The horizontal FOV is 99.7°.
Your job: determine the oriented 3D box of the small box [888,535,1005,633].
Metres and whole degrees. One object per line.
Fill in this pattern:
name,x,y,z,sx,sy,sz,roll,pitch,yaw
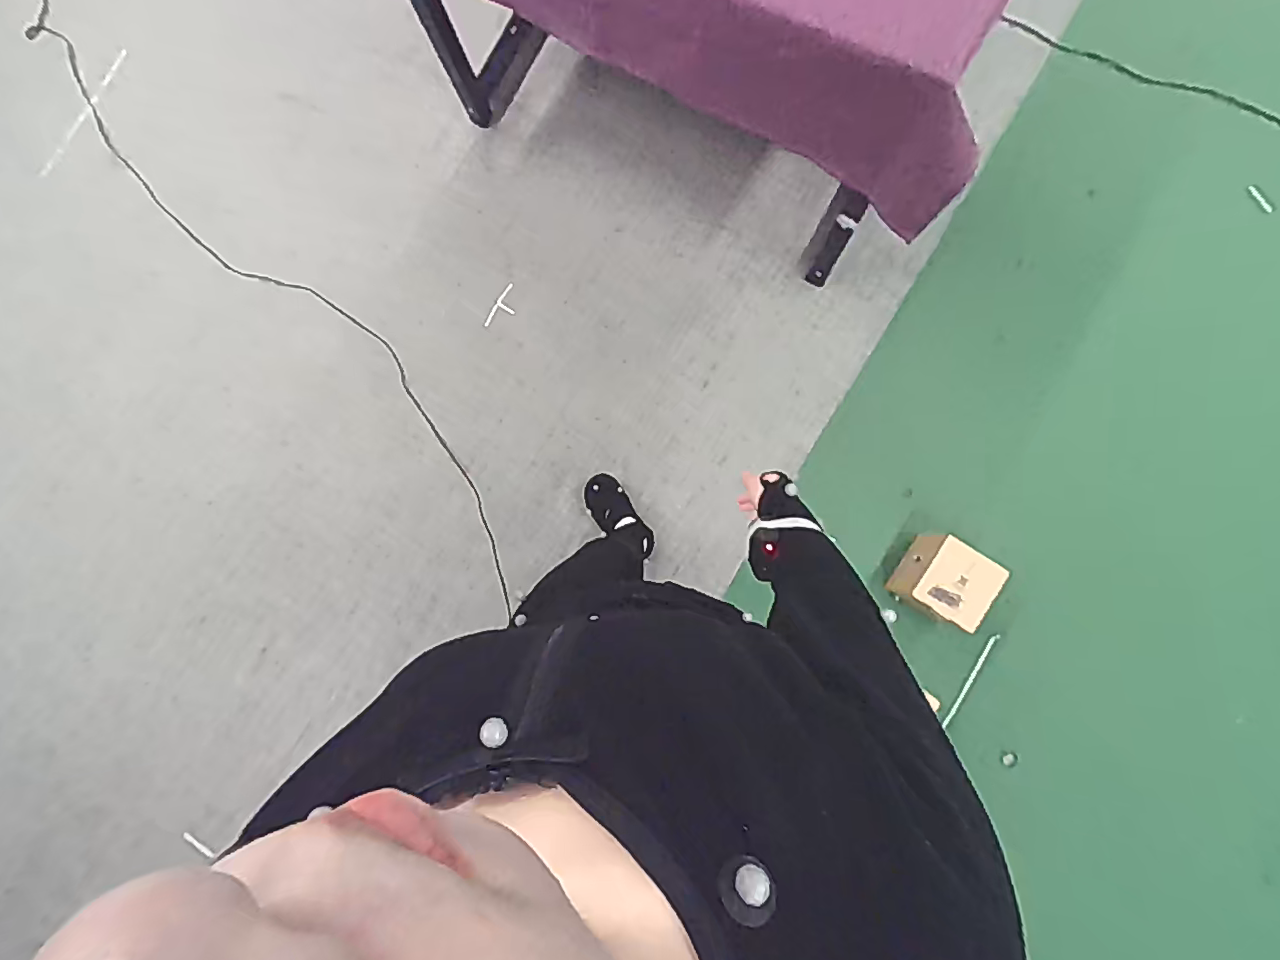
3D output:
small box,0.757,0.255,1.361,0.168,0.176,0.179,34,87,6
